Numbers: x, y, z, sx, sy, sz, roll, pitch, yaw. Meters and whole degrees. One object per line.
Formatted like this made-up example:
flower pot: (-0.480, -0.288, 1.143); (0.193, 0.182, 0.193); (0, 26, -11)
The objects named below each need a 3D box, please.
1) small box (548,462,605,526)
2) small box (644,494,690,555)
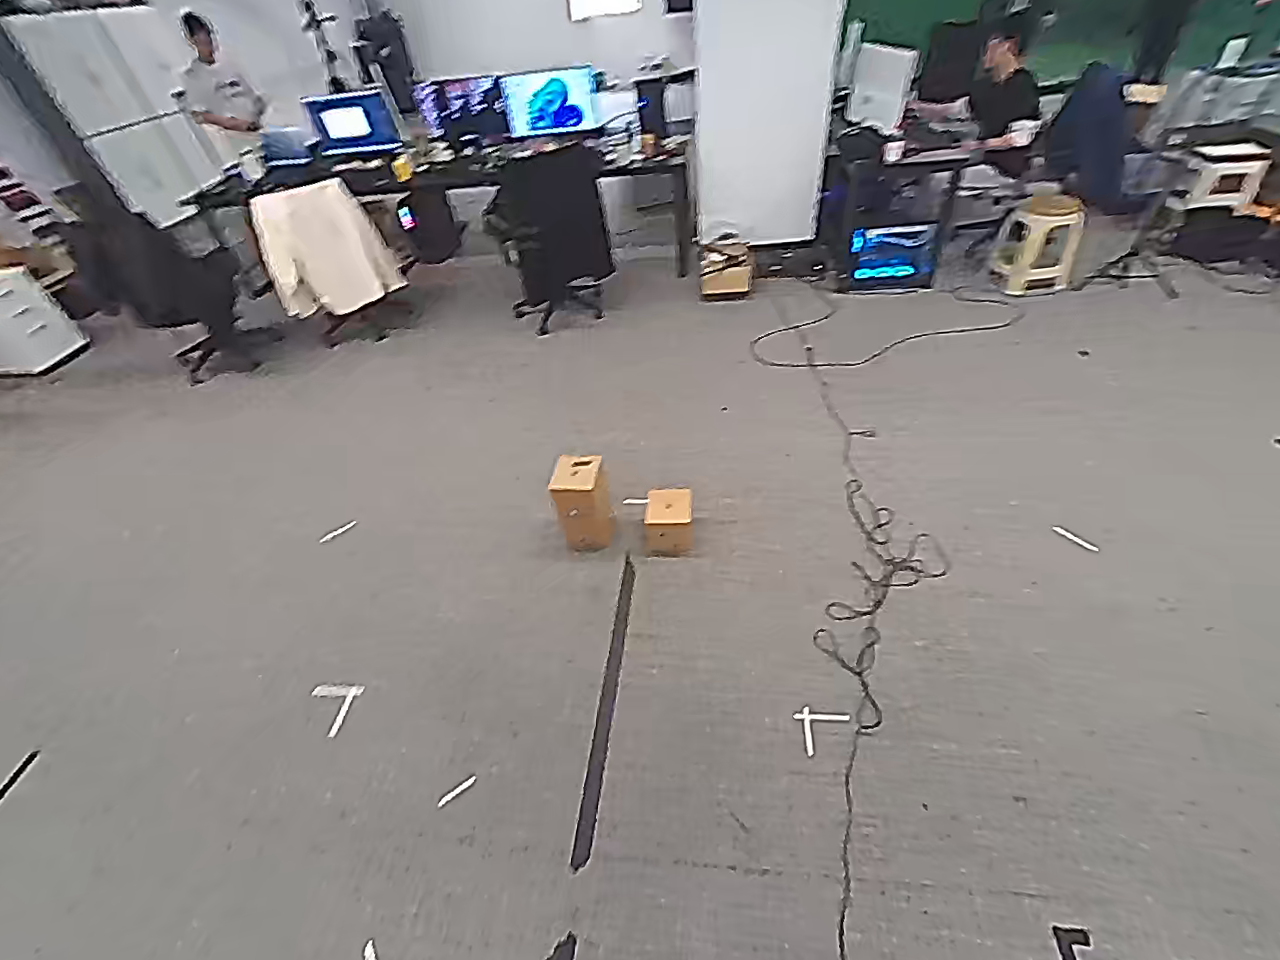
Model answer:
small box: (-0.234, 0.051, 2.038); (0.168, 0.176, 0.179); (1, 44, 10)
small box: (0.110, 0.176, 2.097); (0.168, 0.176, 0.179); (-1, 43, 7)
